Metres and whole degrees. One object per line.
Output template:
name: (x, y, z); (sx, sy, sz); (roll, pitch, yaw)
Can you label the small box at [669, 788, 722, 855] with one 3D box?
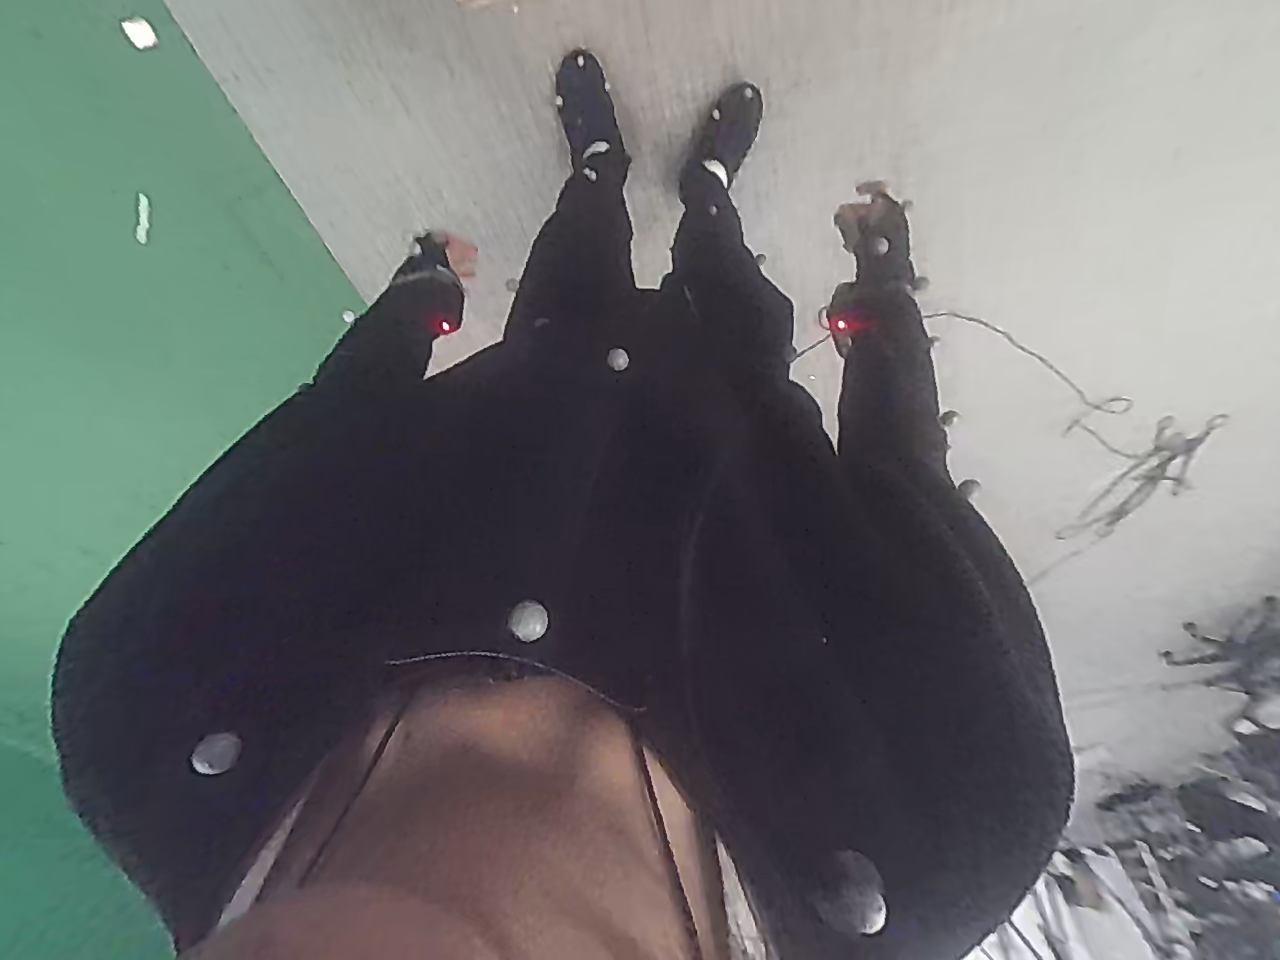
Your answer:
small box: (0.204, 1.250, 1.980); (0.168, 0.176, 0.179); (-10, 134, 2)
